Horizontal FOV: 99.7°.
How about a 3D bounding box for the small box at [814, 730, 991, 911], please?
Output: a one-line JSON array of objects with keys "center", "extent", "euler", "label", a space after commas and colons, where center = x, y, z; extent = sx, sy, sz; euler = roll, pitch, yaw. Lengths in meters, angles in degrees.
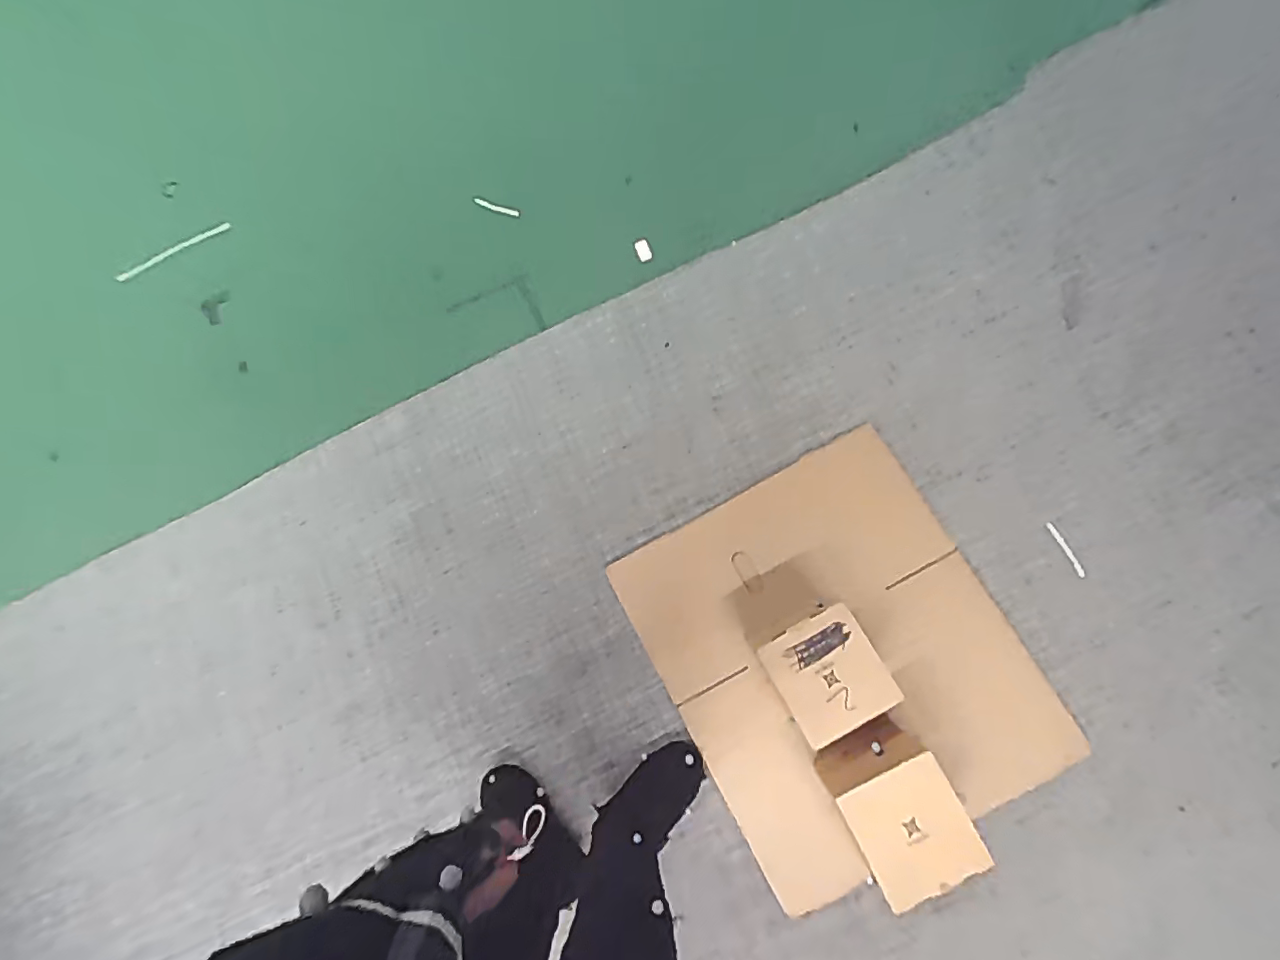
[{"center": [0.408, 0.531, 0.879], "extent": [0.168, 0.176, 0.179], "euler": [-28, 78, 0], "label": "small box"}]
